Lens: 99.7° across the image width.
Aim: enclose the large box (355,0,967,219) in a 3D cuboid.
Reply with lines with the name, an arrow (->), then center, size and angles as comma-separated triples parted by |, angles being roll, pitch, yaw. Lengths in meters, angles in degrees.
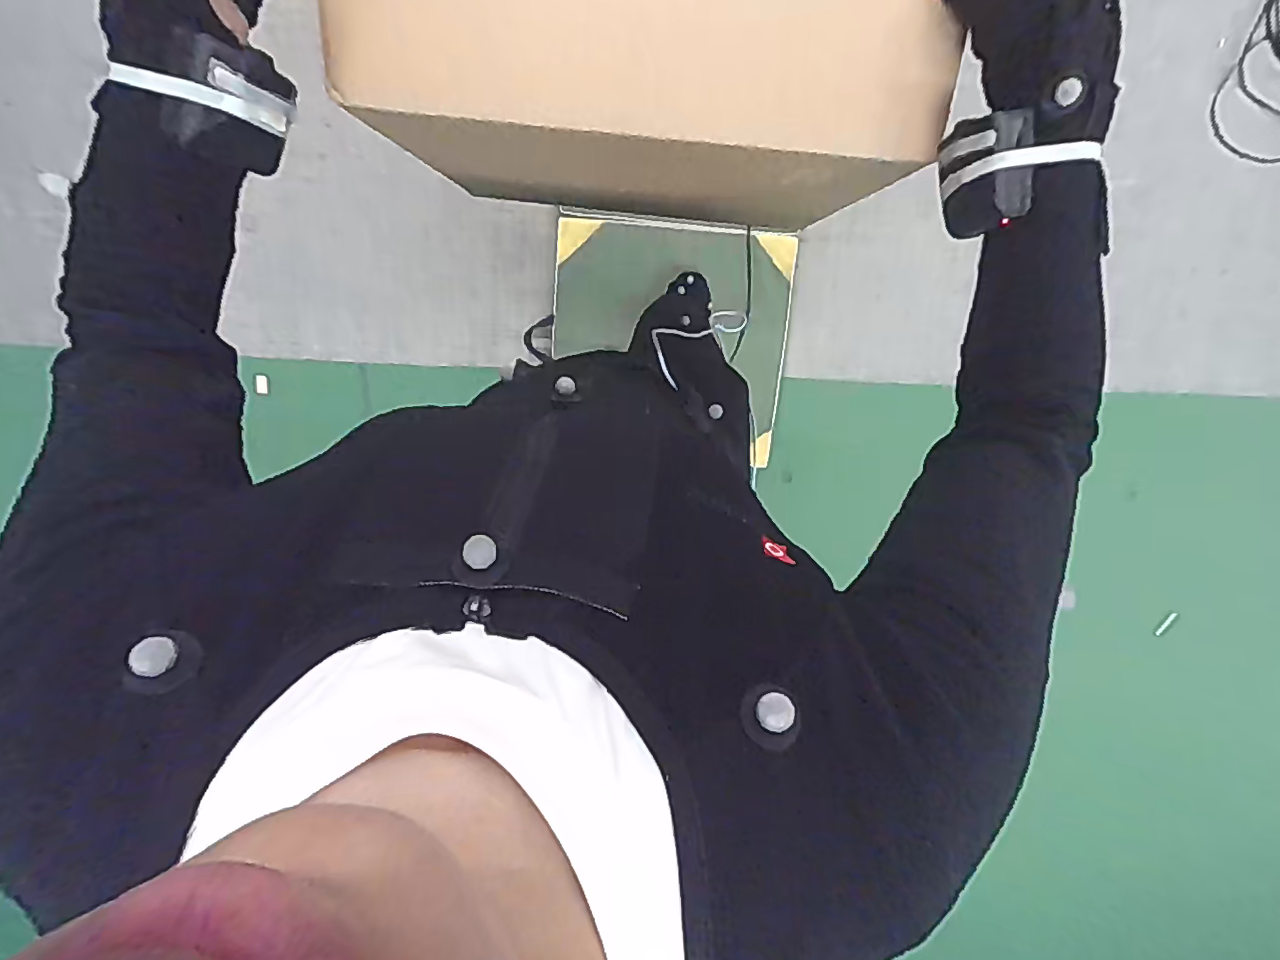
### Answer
large box -> 0.017, -0.431, 0.467 | 0.408, 0.320, 0.320 | 4, 108, -3
